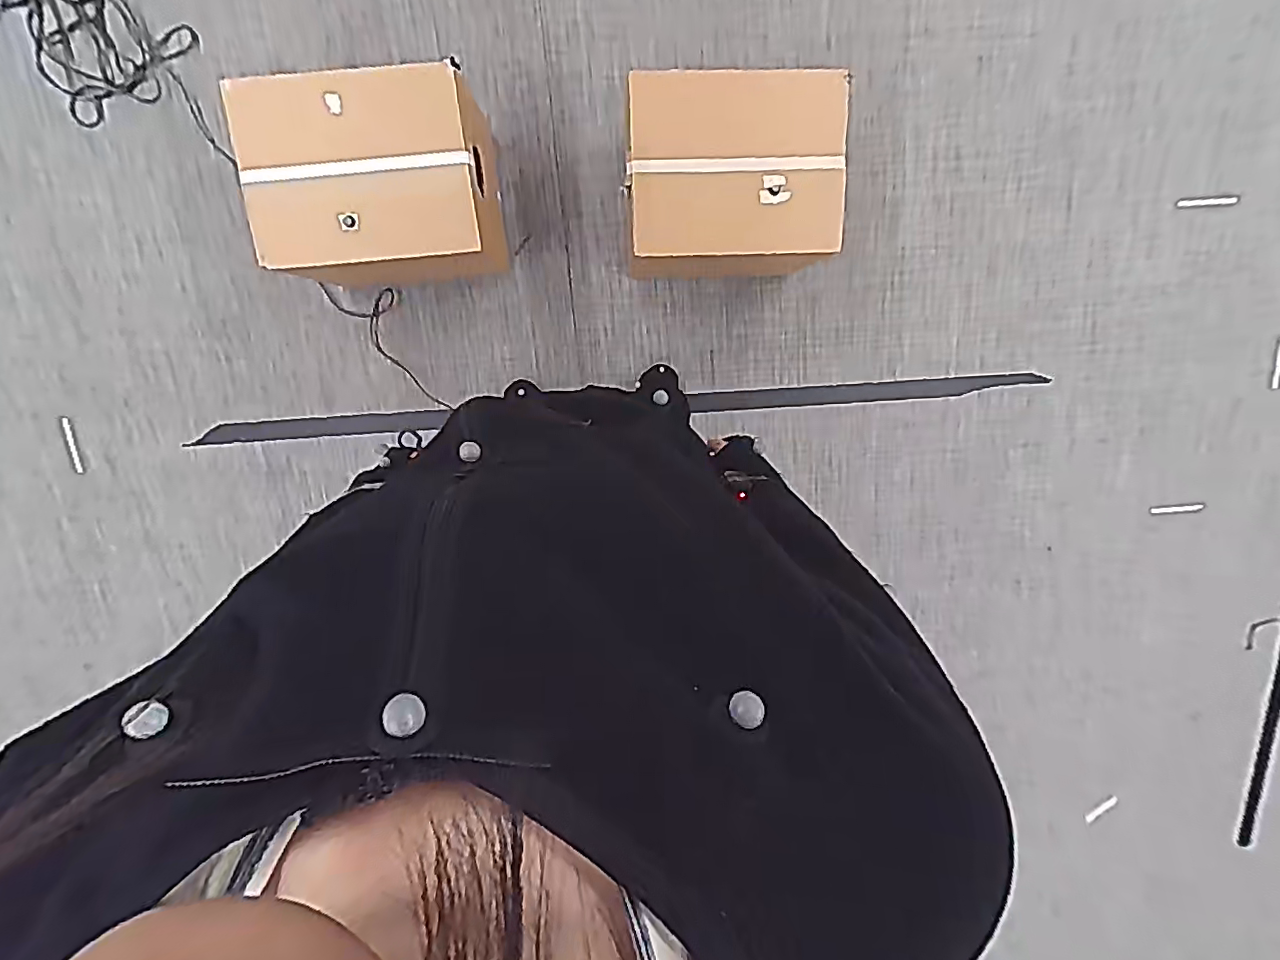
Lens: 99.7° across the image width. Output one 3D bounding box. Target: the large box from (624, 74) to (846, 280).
[{"bbox_3d":[0.177,-0.619,1.159,0.408,0.320,0.320,-2,103,-4],"label":"large box"}]
